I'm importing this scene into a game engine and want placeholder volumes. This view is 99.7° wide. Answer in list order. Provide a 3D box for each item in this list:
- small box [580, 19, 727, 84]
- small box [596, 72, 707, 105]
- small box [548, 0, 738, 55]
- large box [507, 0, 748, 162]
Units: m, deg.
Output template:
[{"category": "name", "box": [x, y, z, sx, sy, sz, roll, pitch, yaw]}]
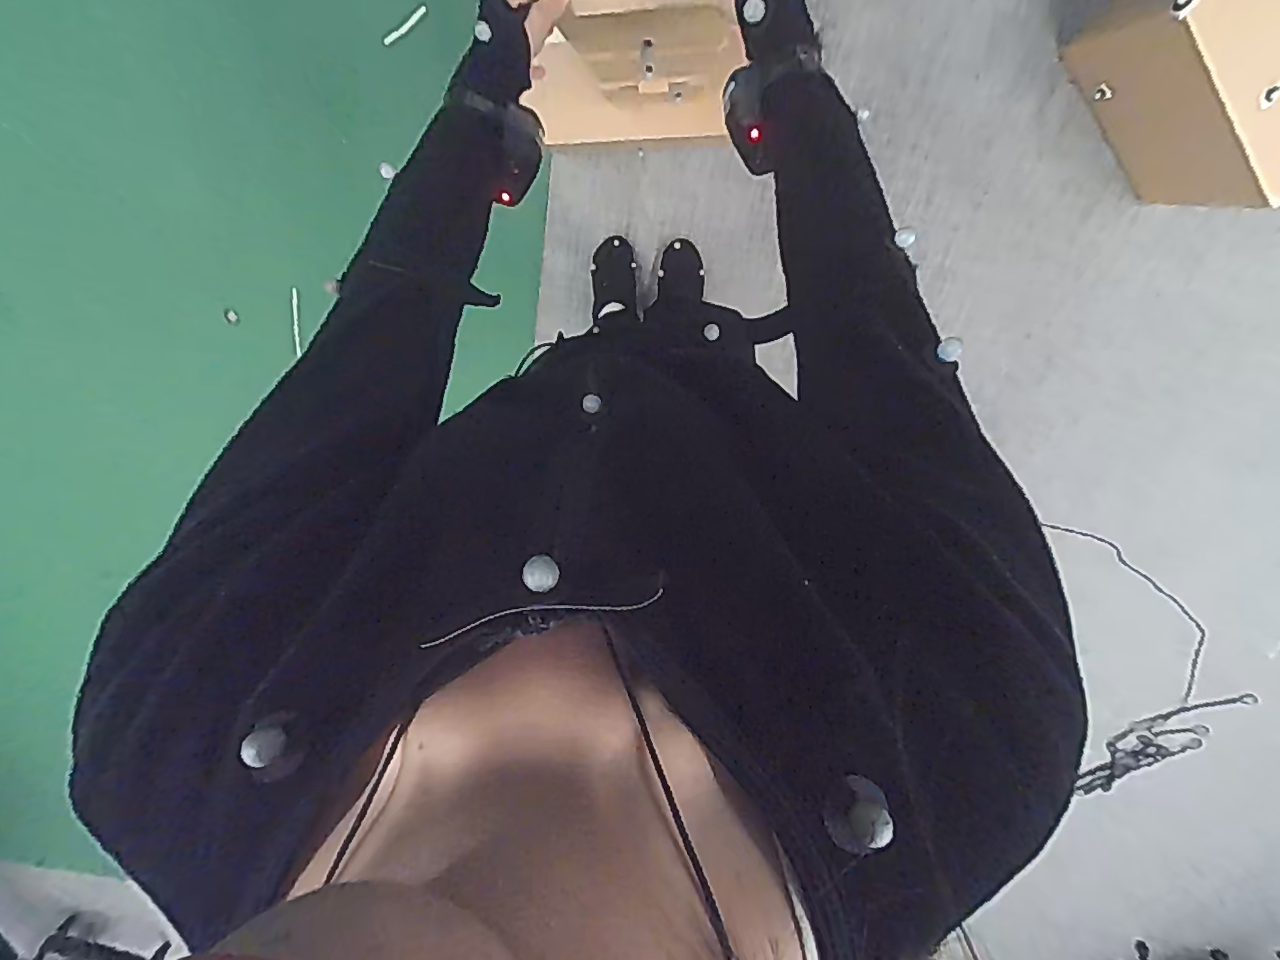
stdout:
[{"category": "small box", "box": [0.014, -0.612, 0.675, 0.179, 0.176, 0.168, -1, 118, 5]}, {"category": "small box", "box": [0.021, -0.685, 0.821, 0.168, 0.176, 0.179, 0, 117, 4]}, {"category": "small box", "box": [0.002, -0.539, 0.529, 0.179, 0.176, 0.168, -1, 117, 3]}, {"category": "large box", "box": [-0.006, -0.807, 1.034, 0.408, 0.320, 0.320, 0, 116, 6]}]
